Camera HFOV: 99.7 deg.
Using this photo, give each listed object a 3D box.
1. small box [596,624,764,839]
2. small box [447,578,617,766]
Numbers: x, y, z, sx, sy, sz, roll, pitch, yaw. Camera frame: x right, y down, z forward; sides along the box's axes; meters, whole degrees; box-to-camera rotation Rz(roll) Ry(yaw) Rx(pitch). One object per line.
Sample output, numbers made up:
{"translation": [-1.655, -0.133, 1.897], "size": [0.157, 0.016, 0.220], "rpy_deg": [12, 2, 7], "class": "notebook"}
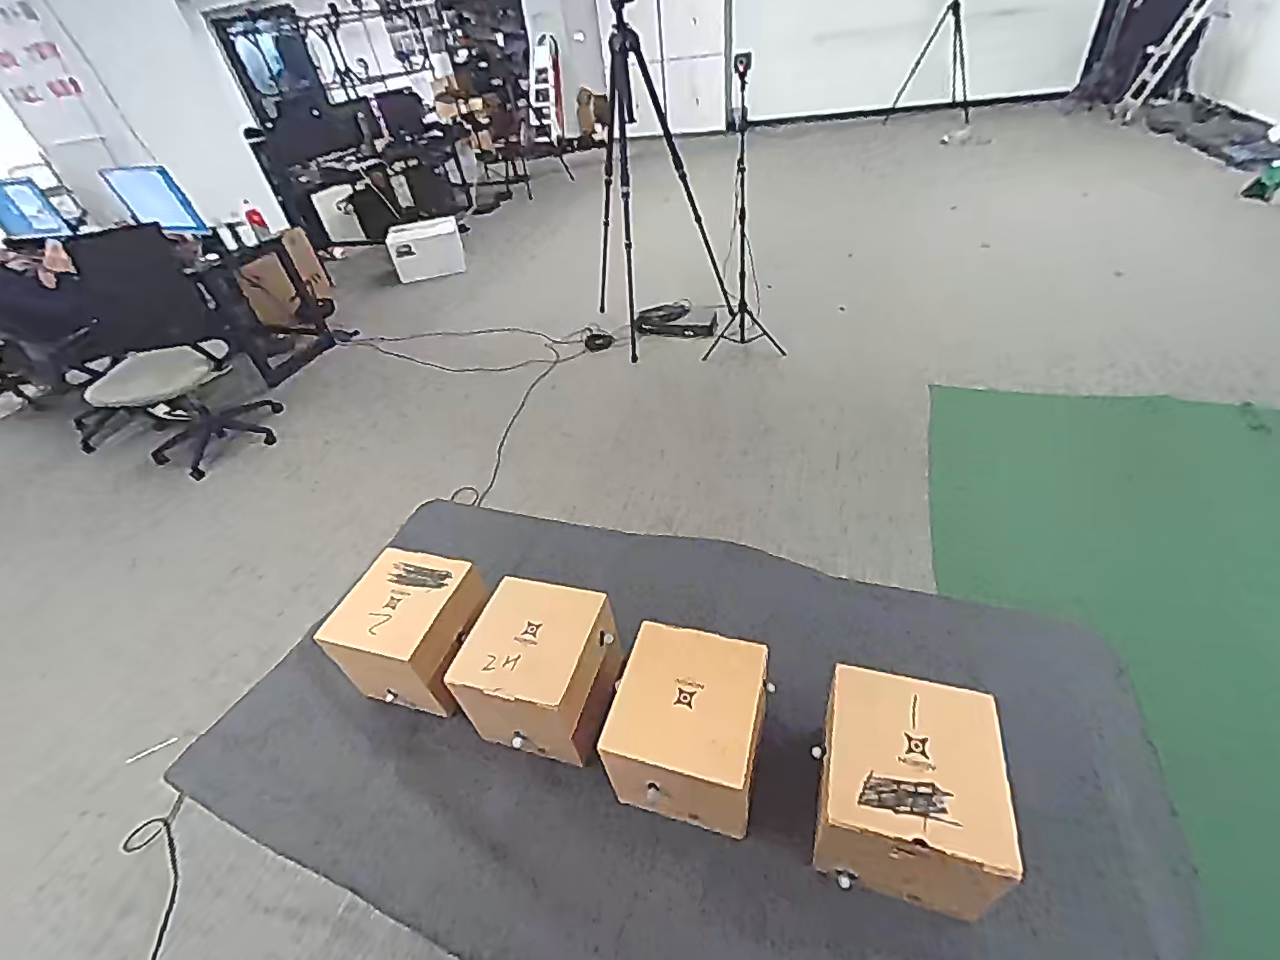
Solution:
{"translation": [0.063, 0.317, 0.687], "size": [0.168, 0.176, 0.179], "rpy_deg": [7, 42, 18], "class": "small box"}
{"translation": [-0.138, 0.272, 0.775], "size": [0.168, 0.176, 0.179], "rpy_deg": [6, 42, 18], "class": "small box"}
